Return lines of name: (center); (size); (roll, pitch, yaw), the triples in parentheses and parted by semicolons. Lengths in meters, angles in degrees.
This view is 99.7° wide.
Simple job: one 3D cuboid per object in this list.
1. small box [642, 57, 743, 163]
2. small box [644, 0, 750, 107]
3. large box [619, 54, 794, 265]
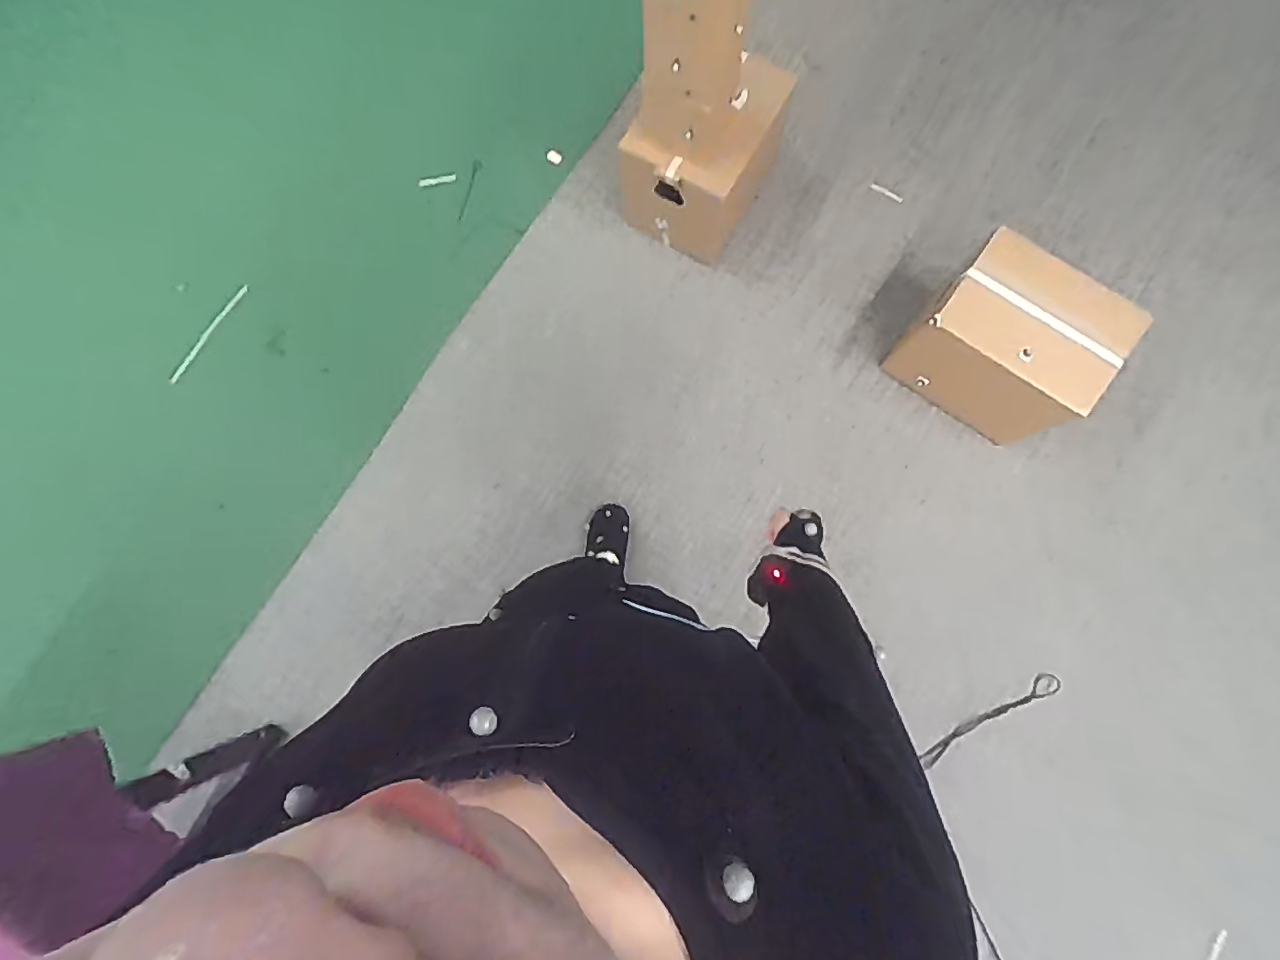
small box: (0.120, -0.897, 1.283); (0.179, 0.176, 0.168); (29, 82, 7)
small box: (0.120, -0.930, 1.122); (0.168, 0.176, 0.179); (25, 81, 5)
large box: (0.176, -0.909, 1.530); (0.320, 0.320, 0.408); (30, 82, 6)
